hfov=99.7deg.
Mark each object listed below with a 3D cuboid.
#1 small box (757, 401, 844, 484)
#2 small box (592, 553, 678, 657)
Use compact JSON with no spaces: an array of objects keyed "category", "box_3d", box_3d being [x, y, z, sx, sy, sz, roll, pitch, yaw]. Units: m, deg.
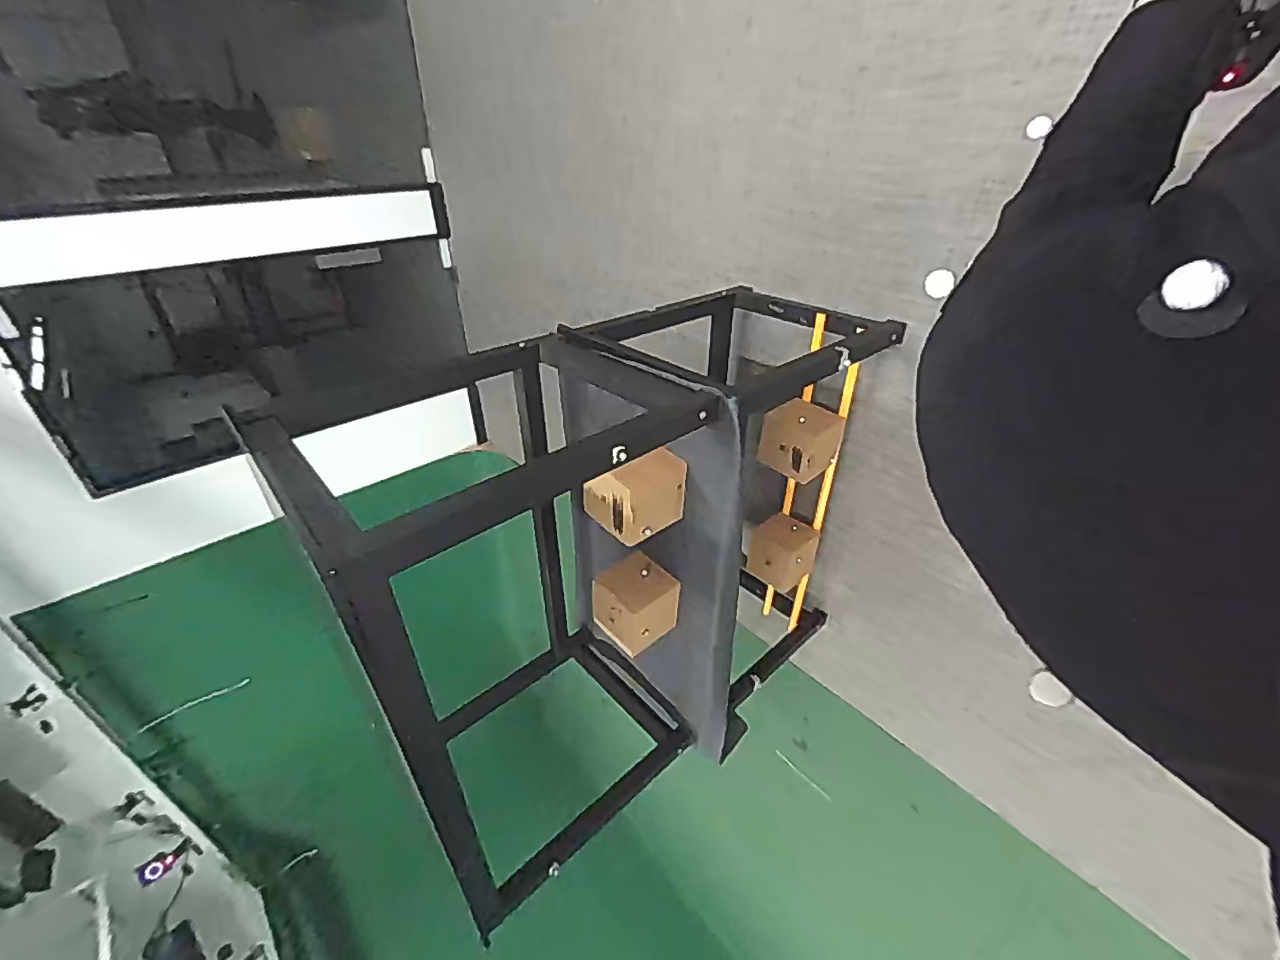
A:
[{"category":"small box","box_3d":[0.480,-0.120,1.615,0.179,0.176,0.168,34,136,36]},{"category":"small box","box_3d":[-0.013,0.331,1.454,0.168,0.176,0.179,34,136,36]}]
